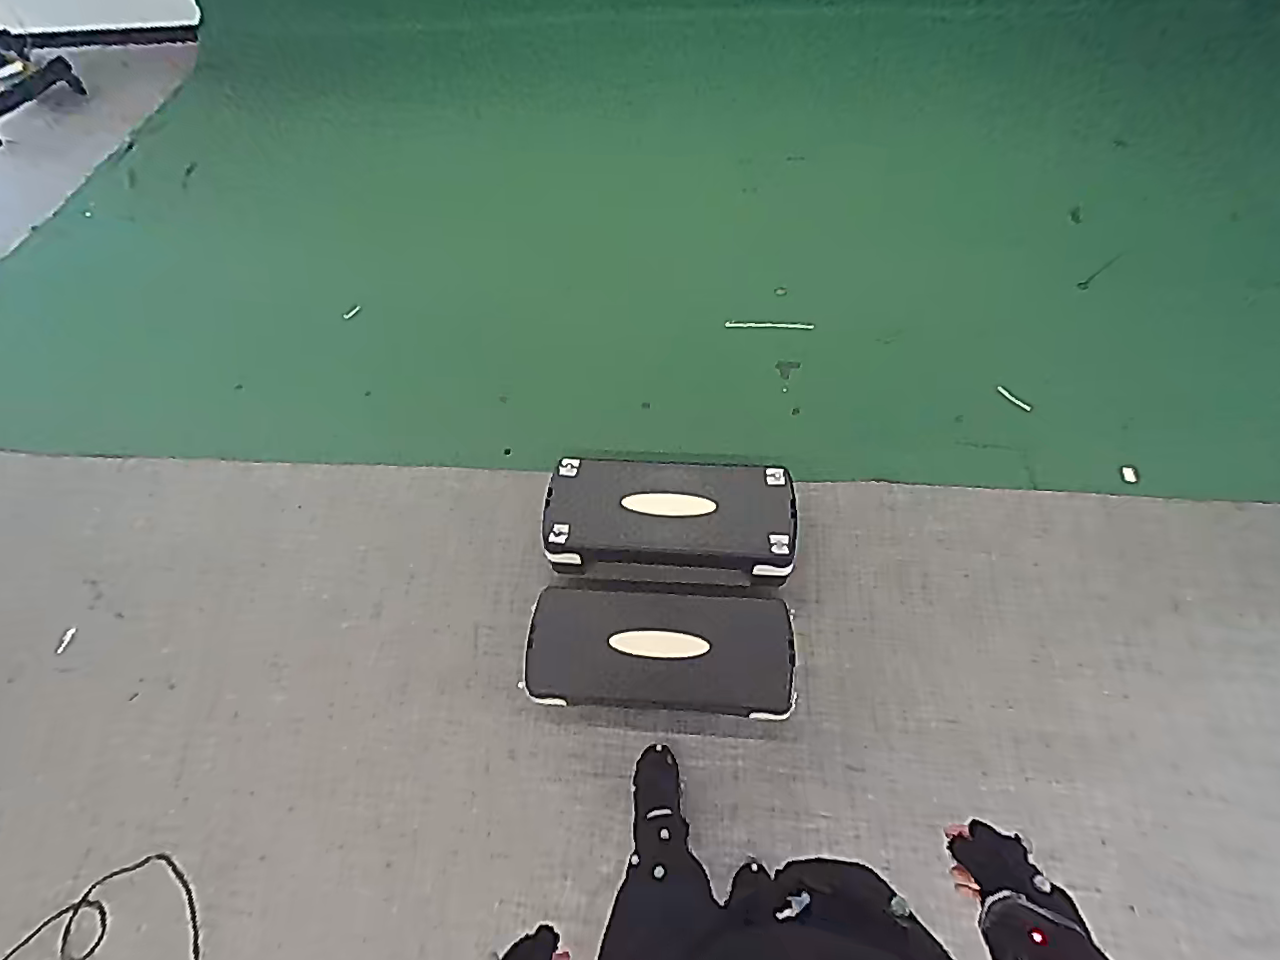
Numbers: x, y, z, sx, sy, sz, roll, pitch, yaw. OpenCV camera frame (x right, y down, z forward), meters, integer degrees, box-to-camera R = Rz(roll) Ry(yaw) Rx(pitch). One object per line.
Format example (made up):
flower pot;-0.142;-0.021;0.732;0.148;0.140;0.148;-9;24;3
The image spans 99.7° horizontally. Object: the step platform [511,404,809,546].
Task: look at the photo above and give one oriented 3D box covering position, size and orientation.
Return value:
step platform;0.048;-0.008;1.330;0.684;0.204;0.286;2;61;6
